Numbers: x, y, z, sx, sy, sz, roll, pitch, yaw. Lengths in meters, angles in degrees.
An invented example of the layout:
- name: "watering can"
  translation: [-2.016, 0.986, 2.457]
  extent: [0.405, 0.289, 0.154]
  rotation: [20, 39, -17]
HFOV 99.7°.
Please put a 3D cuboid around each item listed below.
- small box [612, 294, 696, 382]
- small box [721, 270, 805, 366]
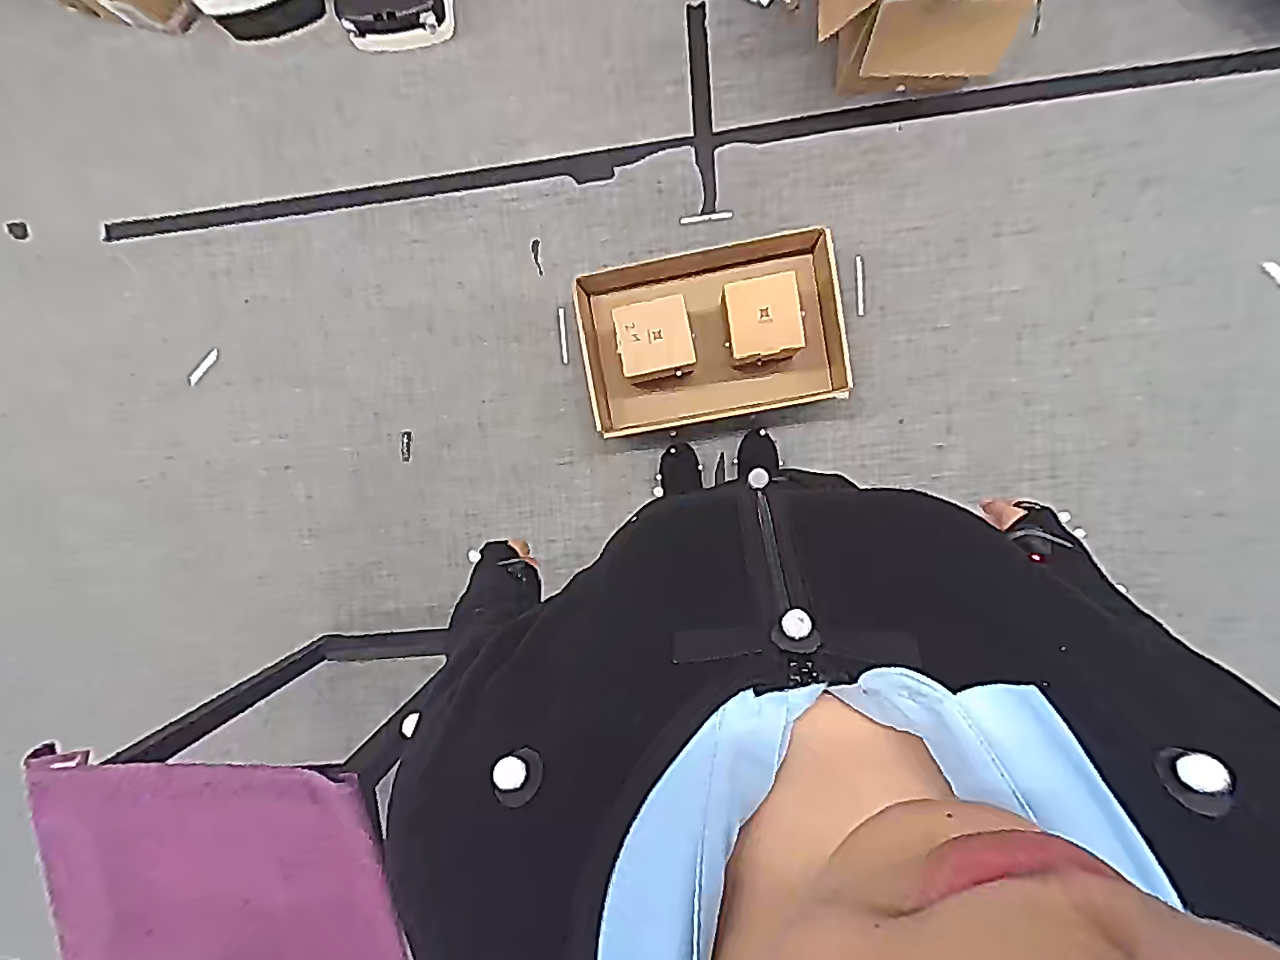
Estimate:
- name: "small box"
  translation: [0.038, -0.346, 1.346]
  extent: [0.179, 0.176, 0.168]
  rotation: [-11, 93, 5]
- name: "small box"
  translation: [0.293, -0.388, 1.323]
  extent: [0.168, 0.176, 0.179]
  rotation: [-9, 94, 7]
